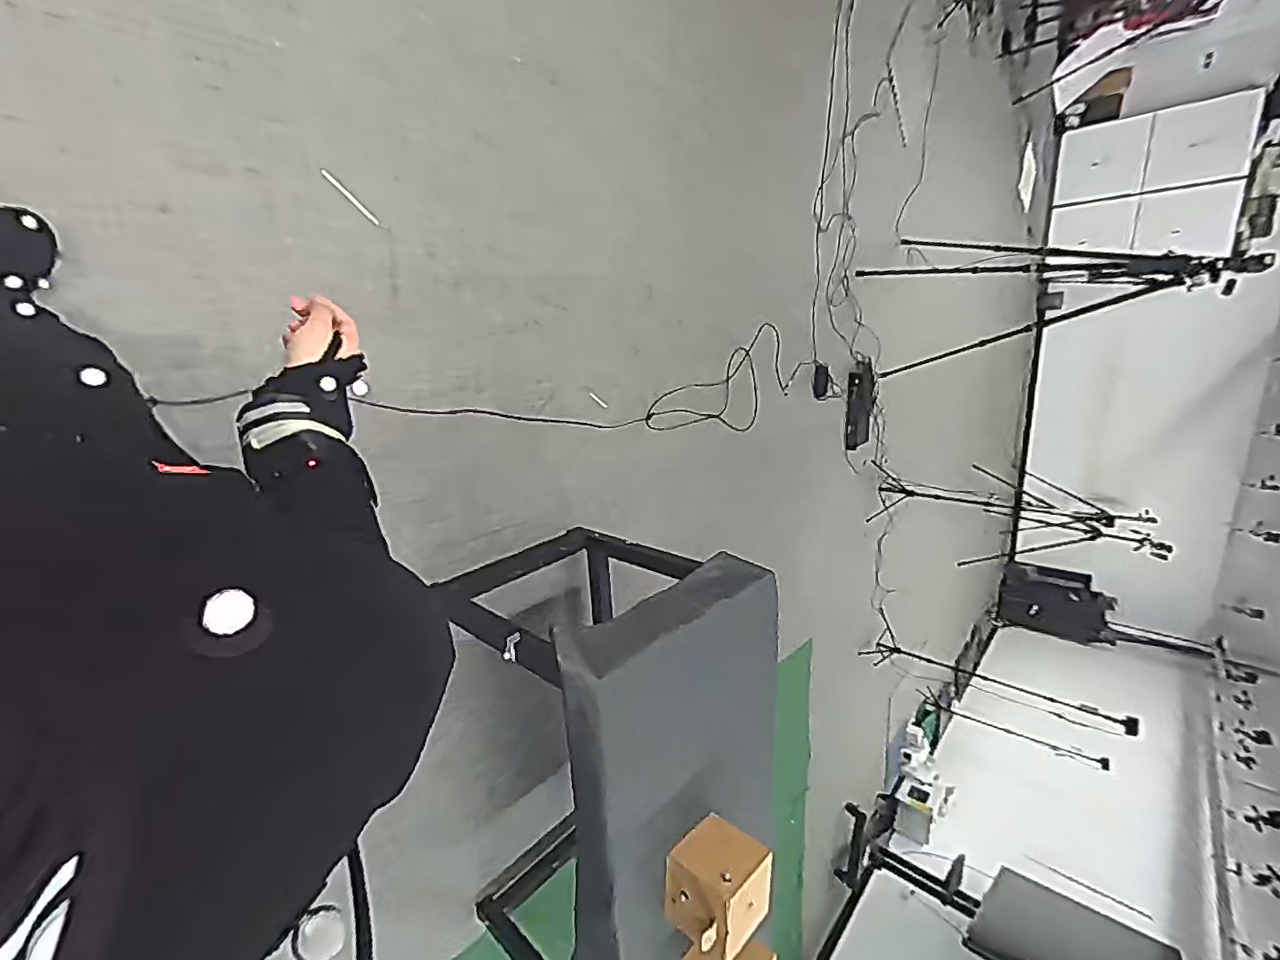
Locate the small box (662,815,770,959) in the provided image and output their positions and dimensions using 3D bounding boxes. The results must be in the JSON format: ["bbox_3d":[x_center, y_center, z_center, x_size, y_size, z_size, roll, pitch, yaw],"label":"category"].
[{"bbox_3d":[0.172,0.909,1.222,0.179,0.176,0.168,-10,105,-46],"label":"small box"}]
